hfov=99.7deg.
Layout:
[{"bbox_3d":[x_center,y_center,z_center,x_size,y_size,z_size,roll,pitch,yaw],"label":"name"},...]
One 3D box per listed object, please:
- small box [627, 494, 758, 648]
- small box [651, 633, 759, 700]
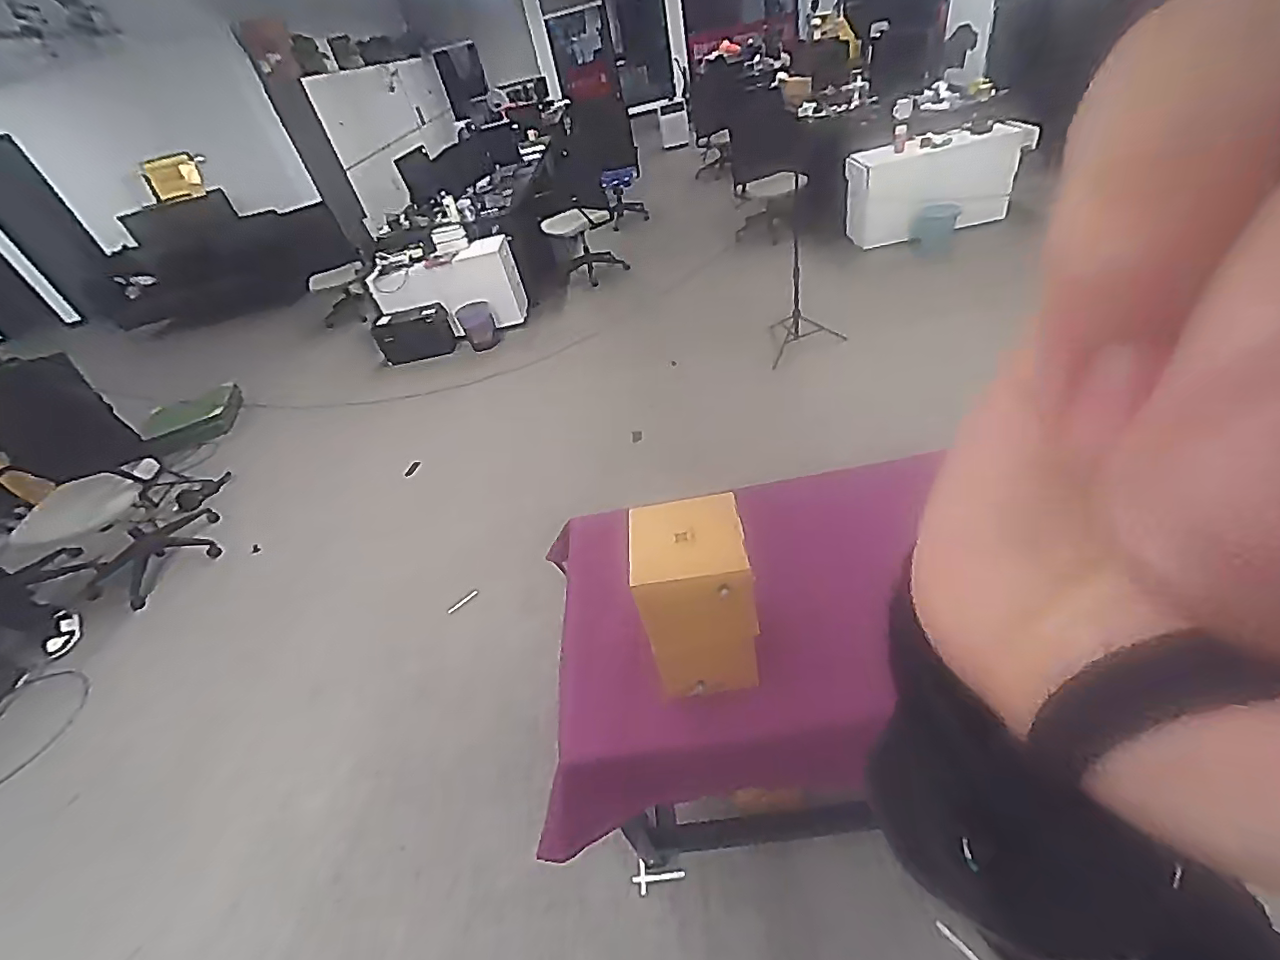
[{"bbox_3d":[0.083,0.149,0.864,0.179,0.176,0.168,-10,40,7],"label":"small box"},{"bbox_3d":[0.113,0.266,0.972,0.168,0.176,0.179,-11,41,7],"label":"small box"}]
